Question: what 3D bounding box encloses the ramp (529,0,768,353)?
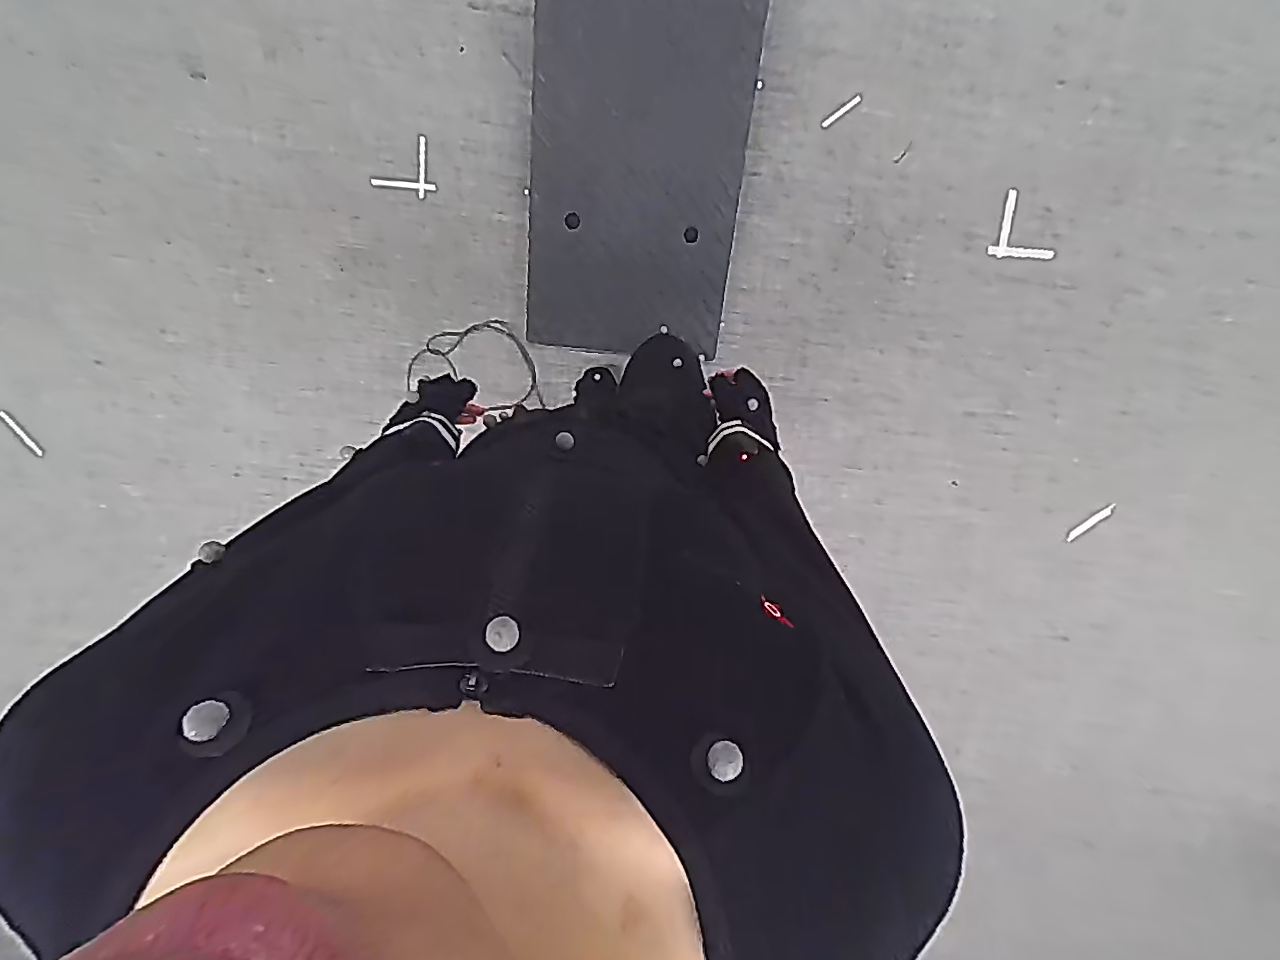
[{"bbox_3d":[0.006,-0.806,1.213,0.509,0.206,0.991,3,103,-3],"label":"ramp"}]
